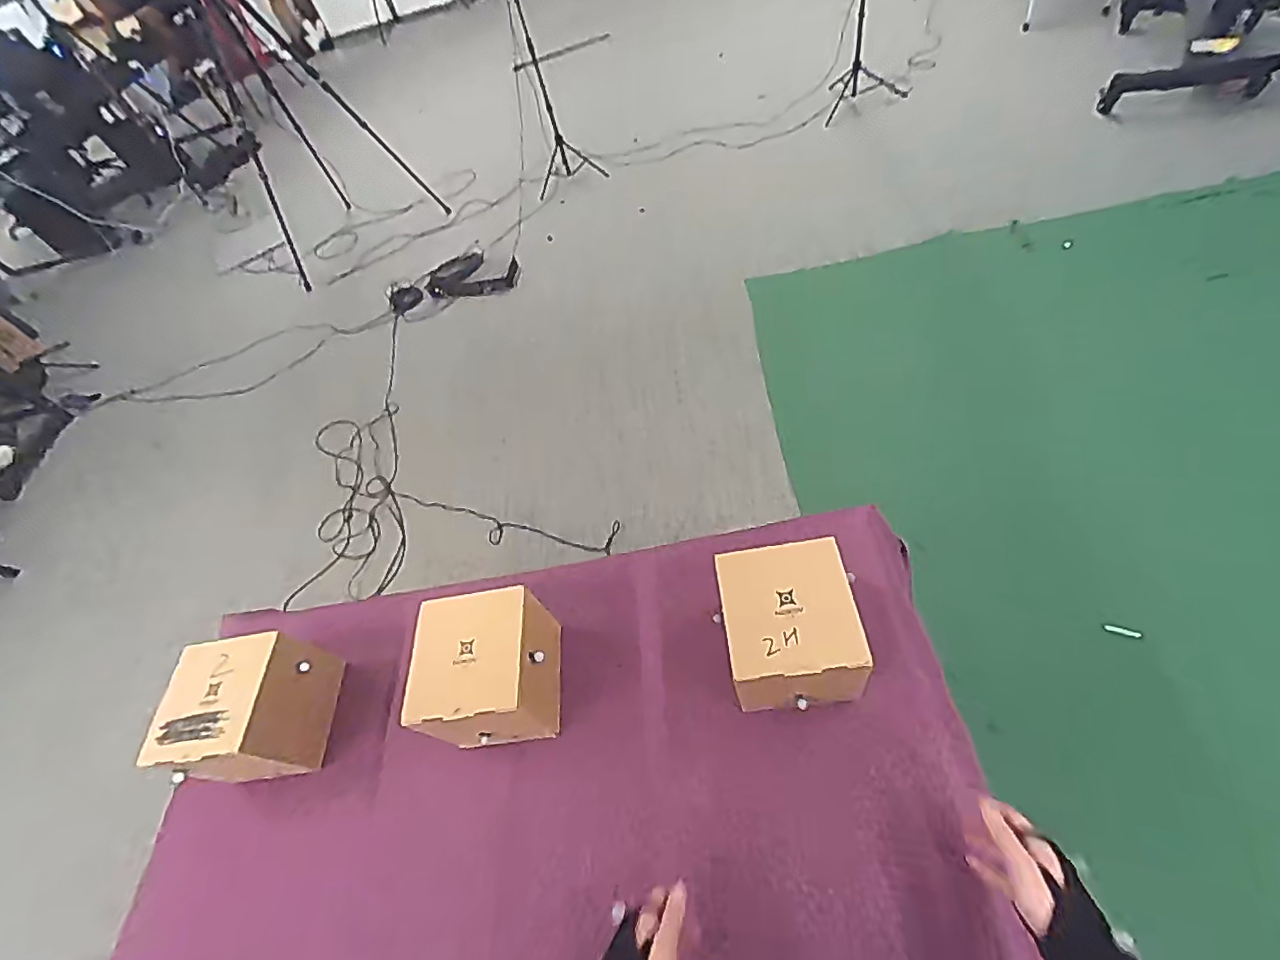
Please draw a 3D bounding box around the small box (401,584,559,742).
[{"bbox_3d":[-0.226,0.279,0.814,0.168,0.176,0.179,-10,54,6],"label":"small box"}]

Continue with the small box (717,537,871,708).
[{"bbox_3d":[0.205,0.203,0.758,0.168,0.176,0.179,-10,54,8],"label":"small box"}]
